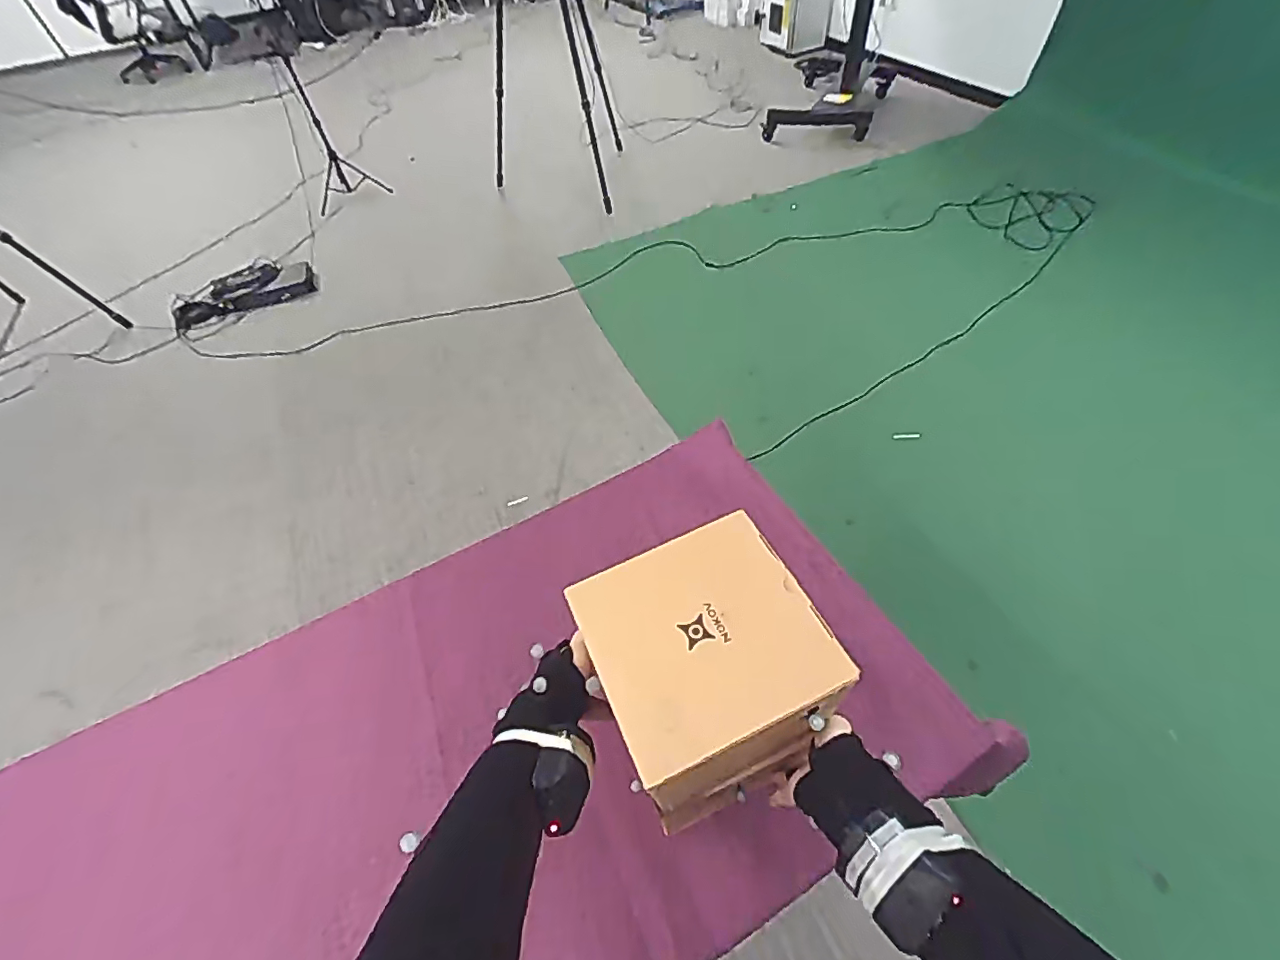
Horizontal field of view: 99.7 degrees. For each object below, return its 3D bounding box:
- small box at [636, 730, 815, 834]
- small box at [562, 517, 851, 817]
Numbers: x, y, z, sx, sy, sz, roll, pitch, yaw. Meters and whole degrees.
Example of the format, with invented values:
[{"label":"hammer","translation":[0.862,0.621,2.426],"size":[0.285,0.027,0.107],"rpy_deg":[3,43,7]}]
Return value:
[{"label":"small box","translation":[0.068,0.273,0.611],"size":[0.179,0.176,0.168],"rpy_deg":[-21,54,-10]},{"label":"small box","translation":[0.053,0.170,0.484],"size":[0.179,0.176,0.168],"rpy_deg":[-23,53,-12]}]
